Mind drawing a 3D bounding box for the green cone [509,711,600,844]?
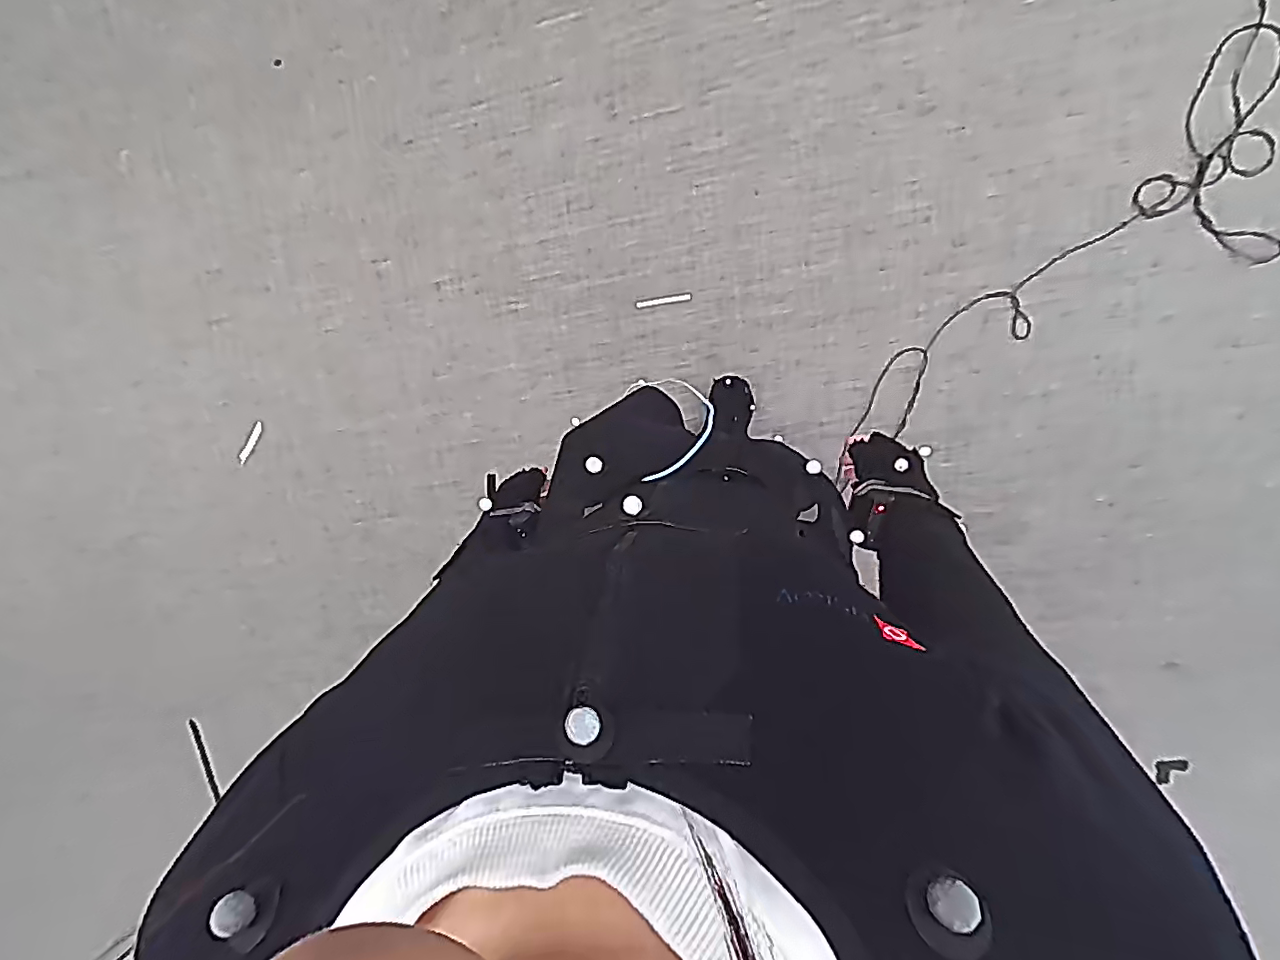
[{"bbox_3d":[-0.259,0.820,1.469,0.202,0.368,0.200,-5,100,12],"label":"green cone"}]
